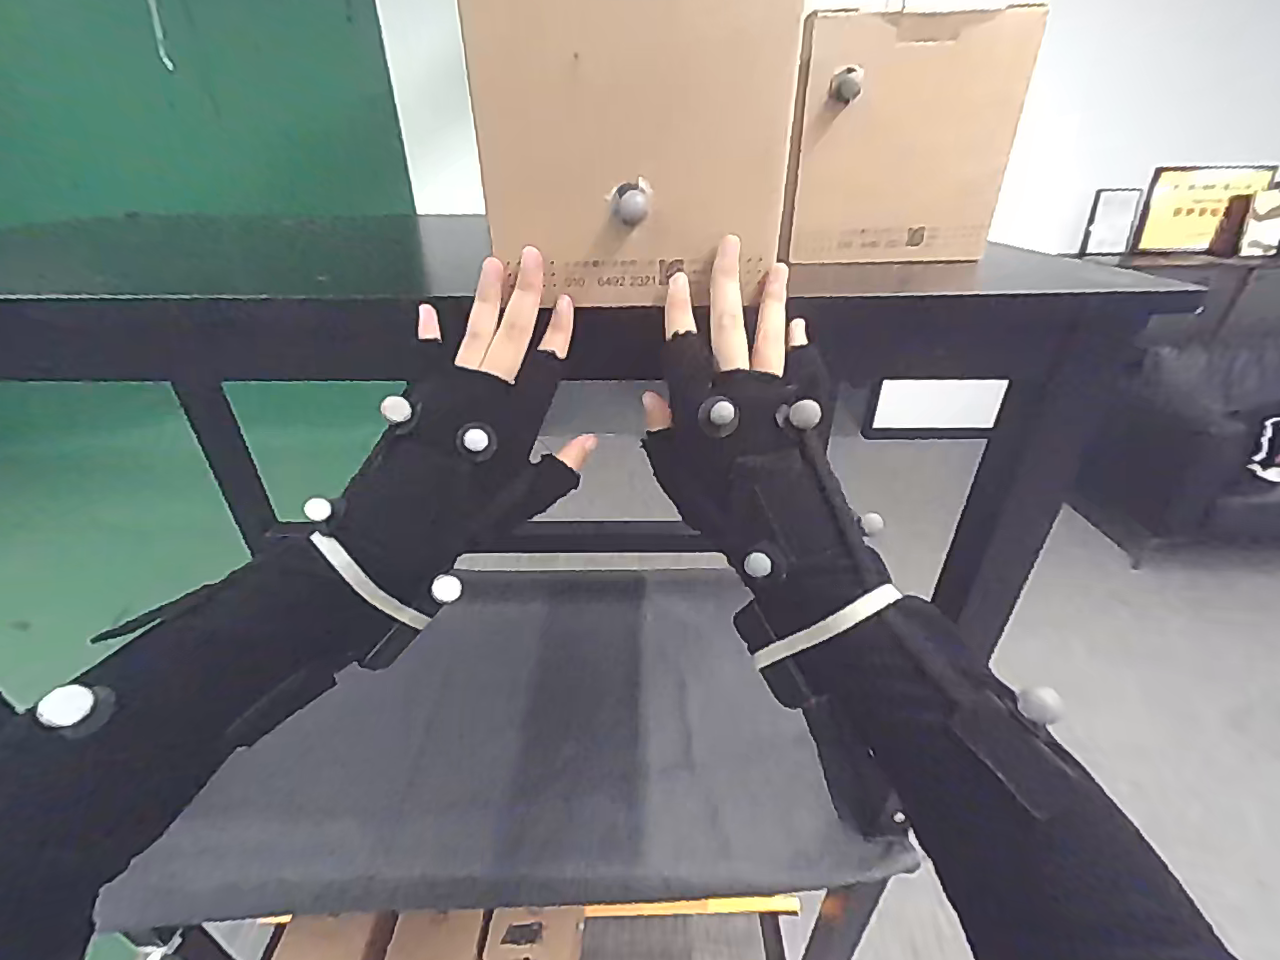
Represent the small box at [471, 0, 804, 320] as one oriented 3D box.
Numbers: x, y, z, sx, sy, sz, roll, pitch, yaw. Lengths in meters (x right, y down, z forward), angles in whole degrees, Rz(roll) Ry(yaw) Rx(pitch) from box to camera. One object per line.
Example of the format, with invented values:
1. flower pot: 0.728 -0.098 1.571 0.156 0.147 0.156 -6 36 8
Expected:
1. small box: -0.002 -0.215 0.365 0.168 0.176 0.179 -1 32 0
